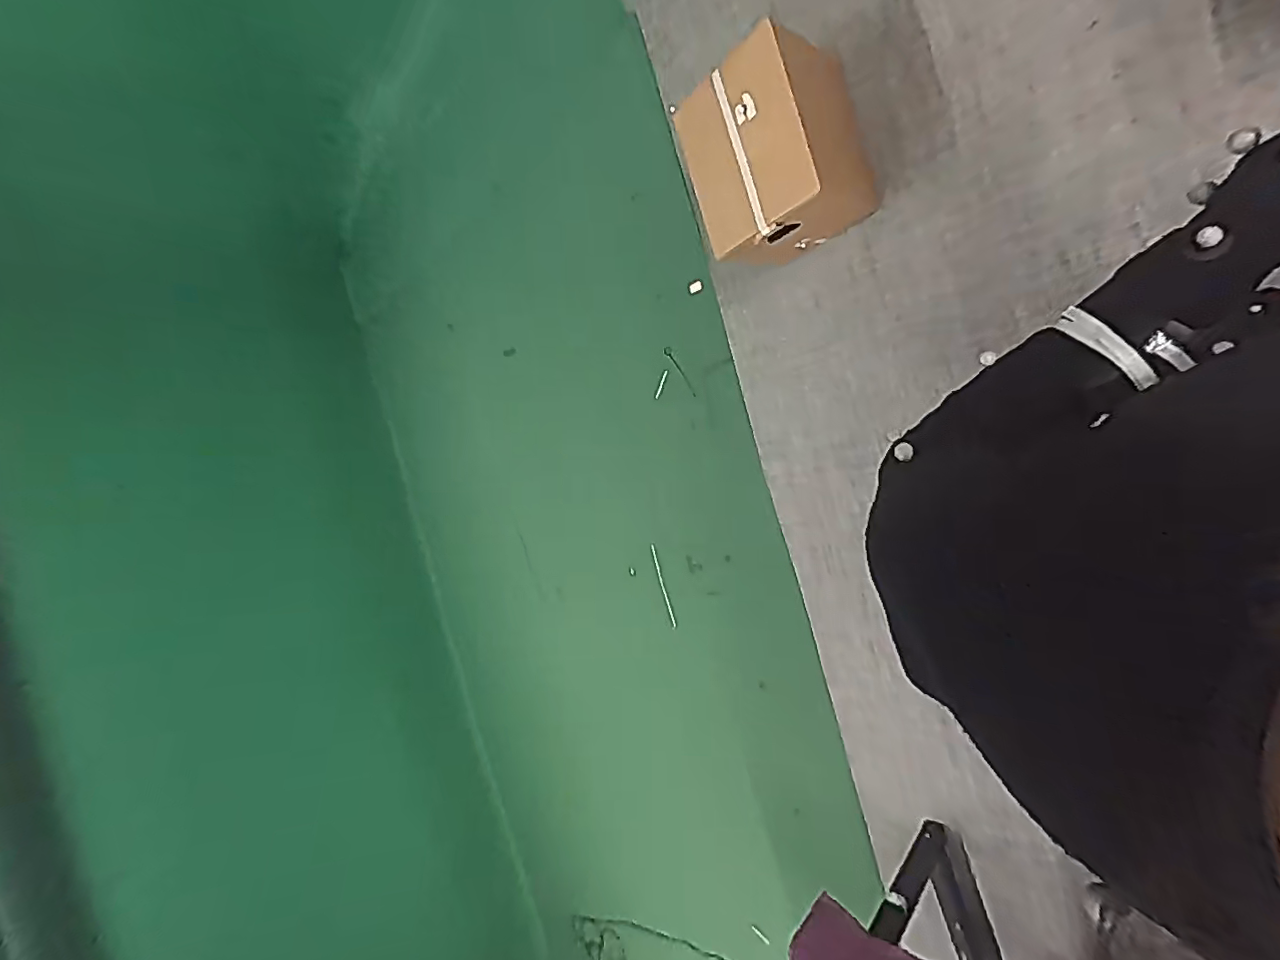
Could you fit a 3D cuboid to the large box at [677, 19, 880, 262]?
[{"bbox_3d":[0.356,-0.828,1.392,0.320,0.320,0.408,-17,90,48],"label":"large box"}]
